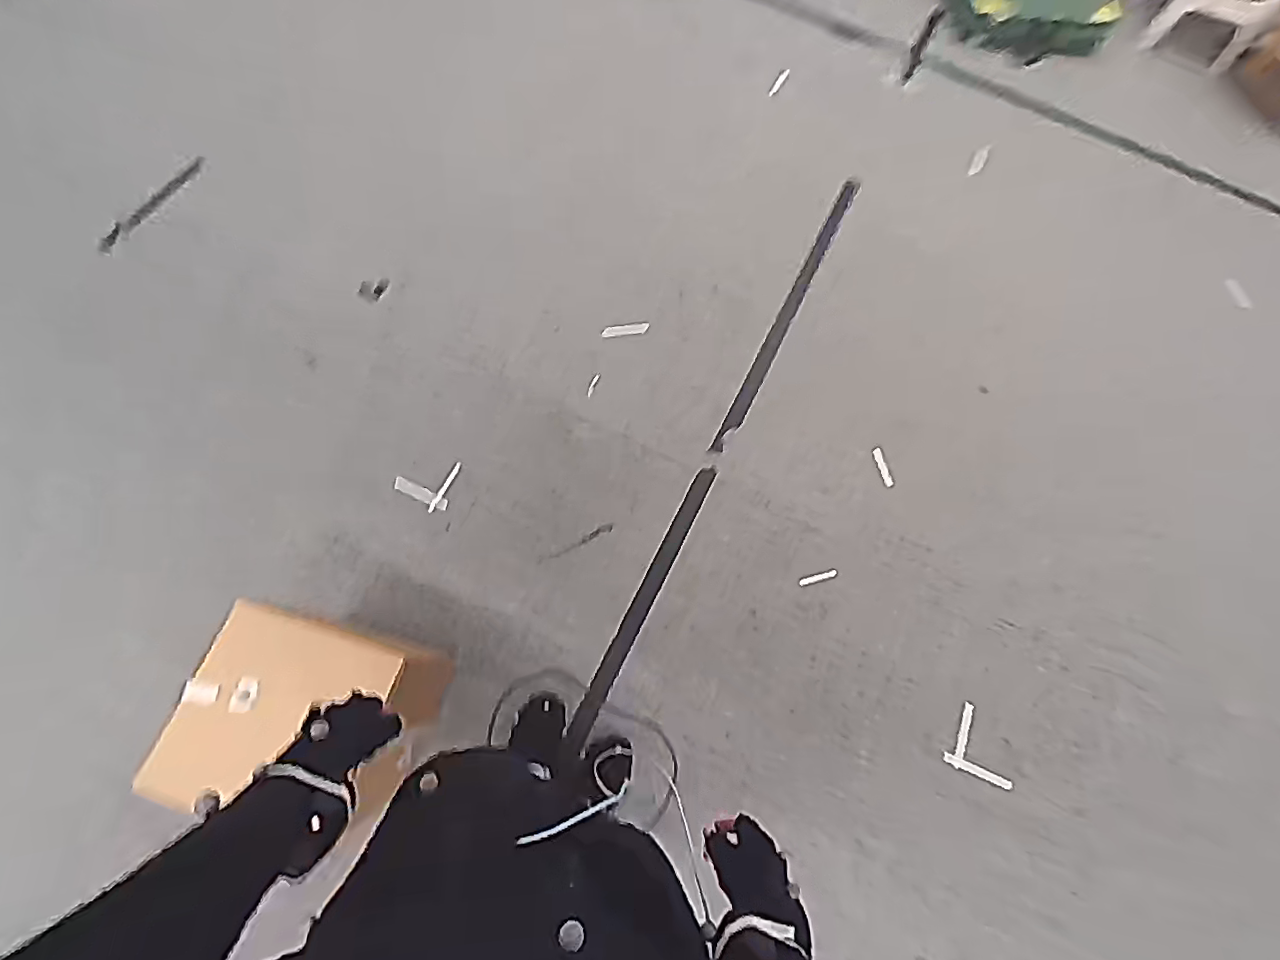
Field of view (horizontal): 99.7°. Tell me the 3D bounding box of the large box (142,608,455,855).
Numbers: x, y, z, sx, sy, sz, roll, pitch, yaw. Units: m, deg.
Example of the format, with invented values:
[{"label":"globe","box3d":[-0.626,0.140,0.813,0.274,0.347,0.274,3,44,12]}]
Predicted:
[{"label":"large box","box3d":[-0.619,0.459,1.074,0.320,0.408,0.320,20,72,1]}]
